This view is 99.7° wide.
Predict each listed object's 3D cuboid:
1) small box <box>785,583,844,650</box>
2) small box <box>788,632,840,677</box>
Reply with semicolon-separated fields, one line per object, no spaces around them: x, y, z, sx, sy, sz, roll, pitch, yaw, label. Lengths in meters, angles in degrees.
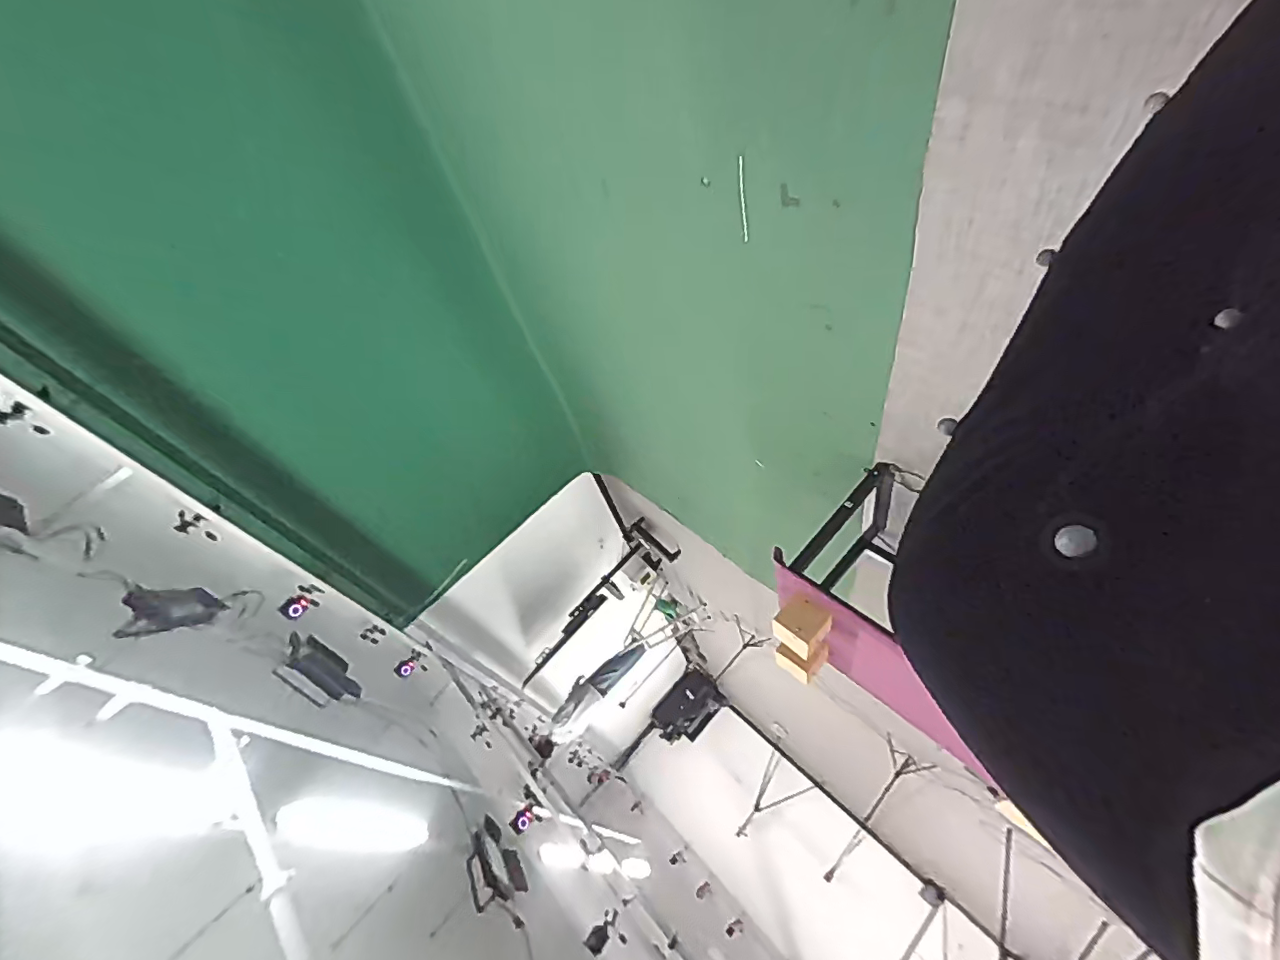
0.710;0.553;2.197;0.168;0.176;0.179;34;160;34;small box
0.797;0.760;2.472;0.168;0.176;0.179;32;158;35;small box
